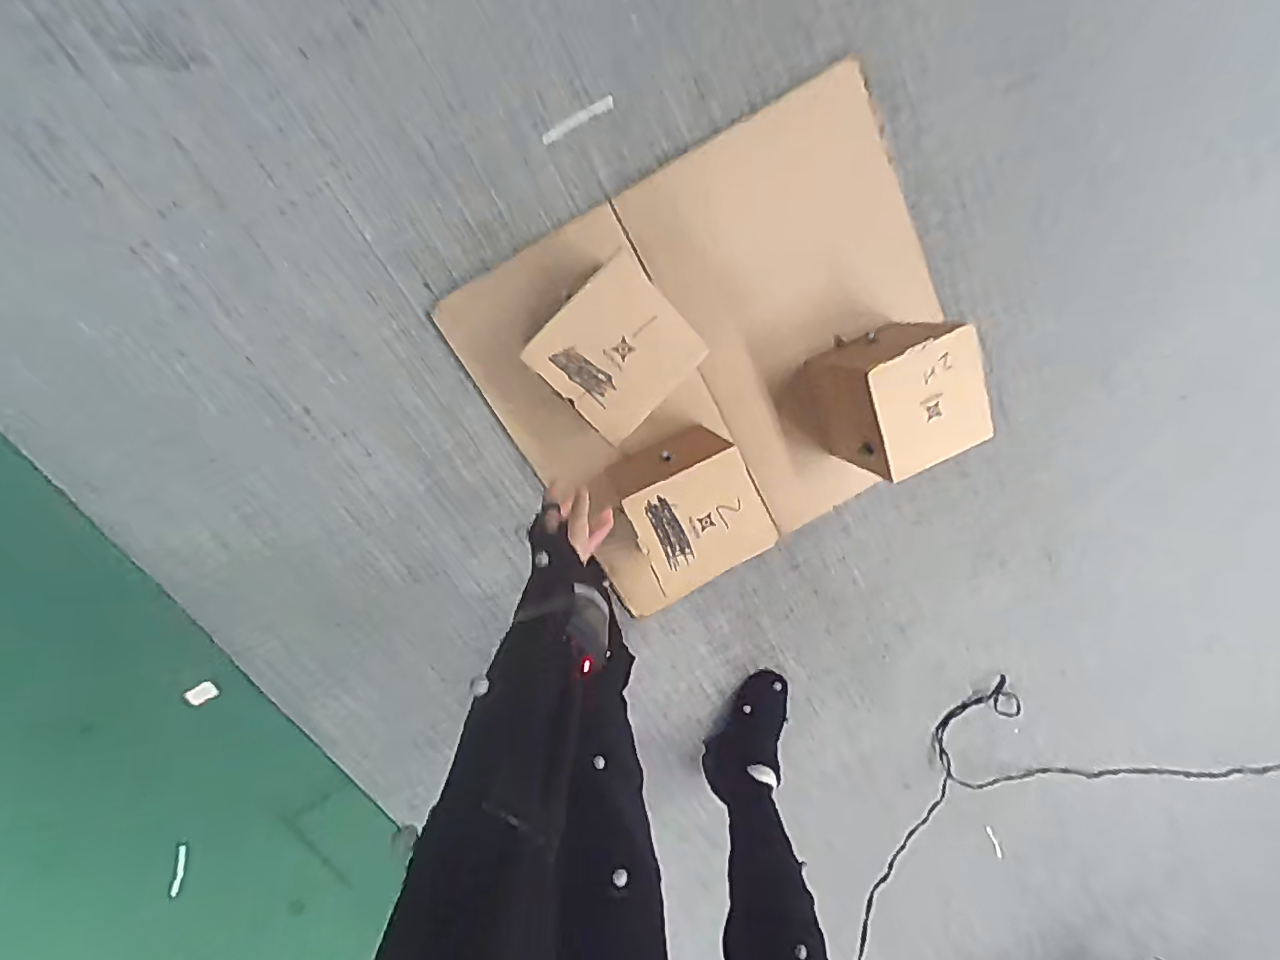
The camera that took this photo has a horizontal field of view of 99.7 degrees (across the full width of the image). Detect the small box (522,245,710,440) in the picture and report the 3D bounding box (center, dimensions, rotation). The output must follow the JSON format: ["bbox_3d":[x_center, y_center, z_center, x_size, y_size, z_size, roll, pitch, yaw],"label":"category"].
[{"bbox_3d":[-0.039,-0.182,0.734,0.179,0.176,0.168,-45,109,3],"label":"small box"}]

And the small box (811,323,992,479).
[{"bbox_3d":[0.387,-0.128,0.821,0.168,0.176,0.179,-24,108,-4],"label":"small box"}]
